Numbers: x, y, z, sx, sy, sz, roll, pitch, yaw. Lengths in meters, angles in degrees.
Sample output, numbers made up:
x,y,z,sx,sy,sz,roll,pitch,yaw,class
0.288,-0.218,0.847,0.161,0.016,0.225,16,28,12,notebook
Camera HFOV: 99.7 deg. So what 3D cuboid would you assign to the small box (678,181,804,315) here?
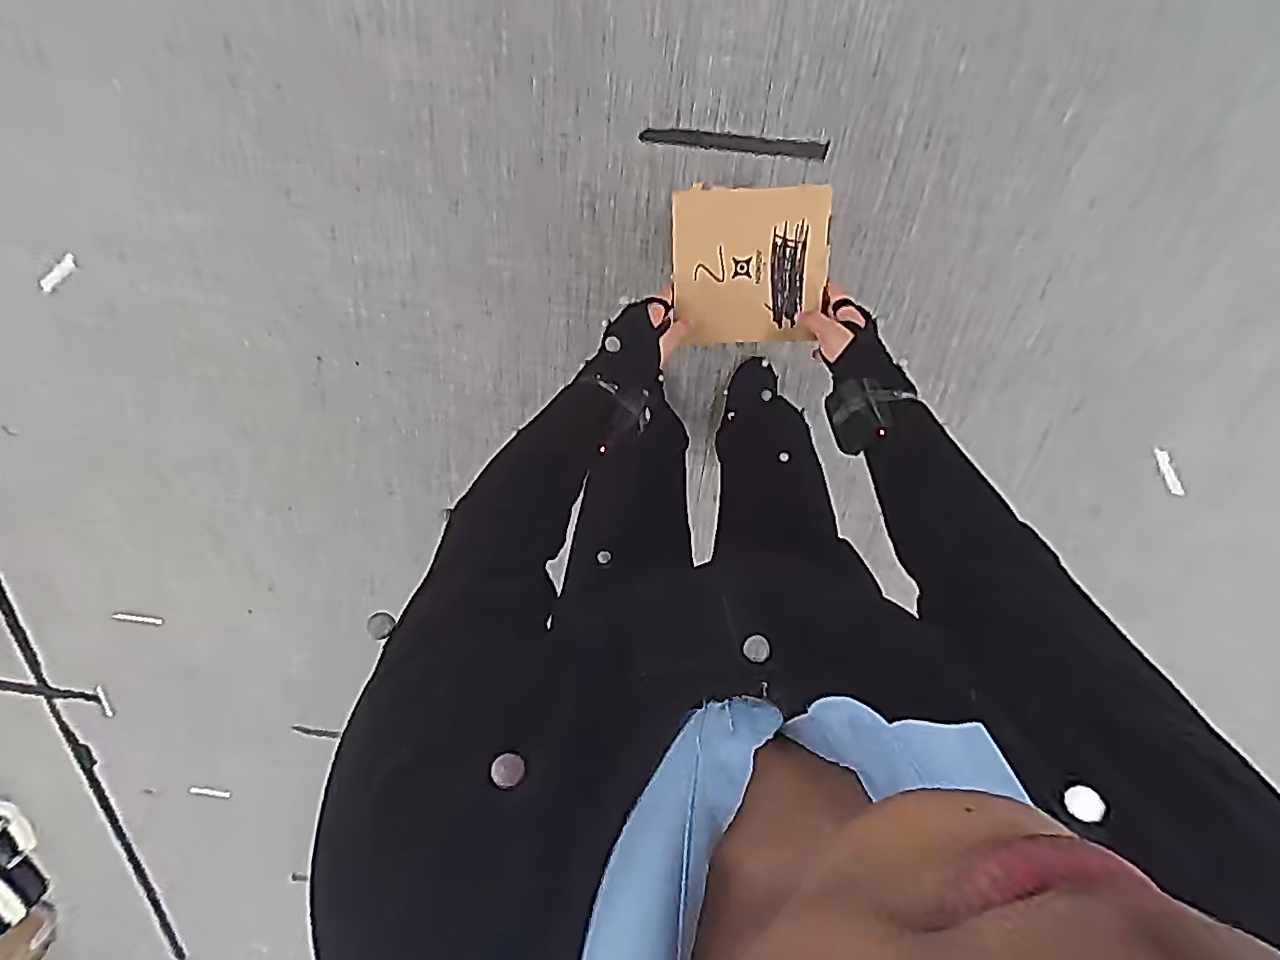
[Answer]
x,y,z,sx,sy,sz,roll,pitch,yaw,class
0.155,-0.385,0.900,0.168,0.176,0.179,7,116,1,small box
